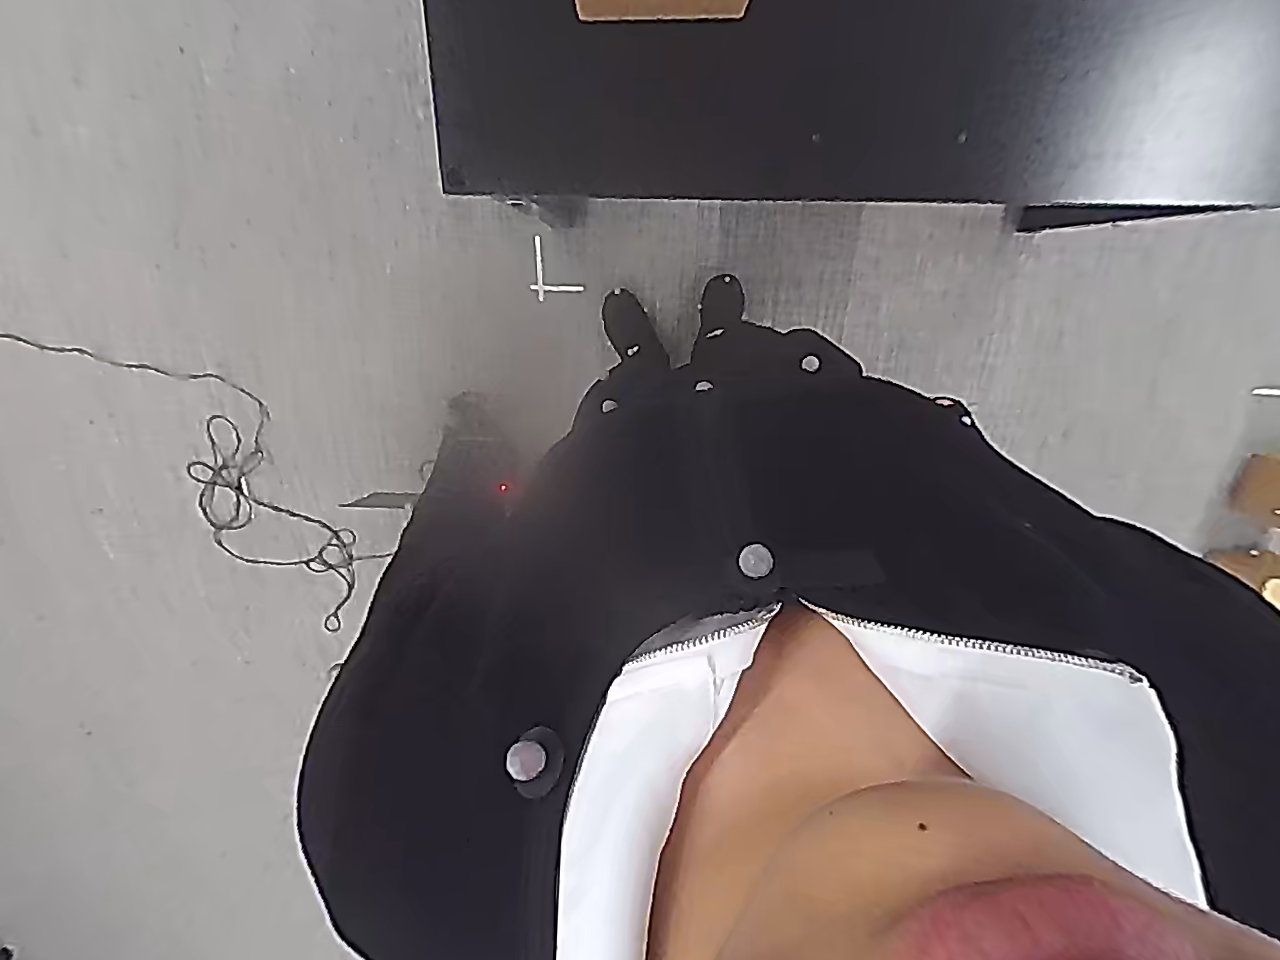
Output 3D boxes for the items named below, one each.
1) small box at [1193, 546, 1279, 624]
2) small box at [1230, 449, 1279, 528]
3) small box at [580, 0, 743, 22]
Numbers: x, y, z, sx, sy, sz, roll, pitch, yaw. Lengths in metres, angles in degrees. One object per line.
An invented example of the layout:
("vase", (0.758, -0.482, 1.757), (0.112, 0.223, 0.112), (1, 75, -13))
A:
("small box", (1.804, 0.305, 1.588), (0.179, 0.176, 0.168), (-2, 111, 1))
("small box", (1.797, 0.028, 1.477), (0.168, 0.176, 0.179), (3, 111, -1))
("small box", (0.022, -0.542, 0.480), (0.179, 0.176, 0.168), (-2, 111, -1))
